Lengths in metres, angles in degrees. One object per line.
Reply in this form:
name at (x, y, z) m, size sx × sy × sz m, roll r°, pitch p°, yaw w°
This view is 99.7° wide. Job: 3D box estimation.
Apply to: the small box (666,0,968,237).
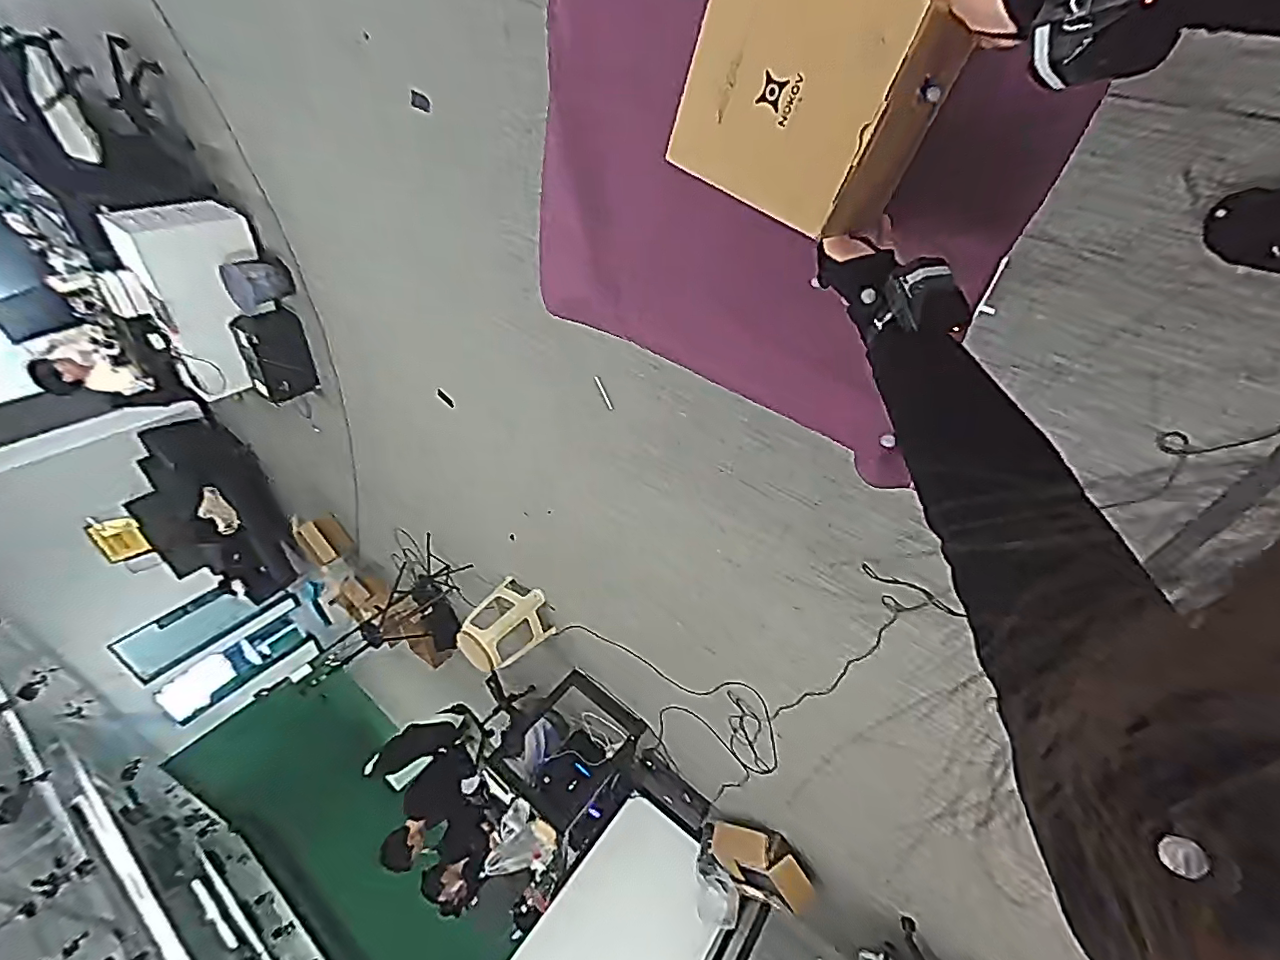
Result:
small box at (0.159, -0.349, 0.491) m, size 0.179 × 0.176 × 0.168 m, roll 39°, pitch 134°, yaw 18°
